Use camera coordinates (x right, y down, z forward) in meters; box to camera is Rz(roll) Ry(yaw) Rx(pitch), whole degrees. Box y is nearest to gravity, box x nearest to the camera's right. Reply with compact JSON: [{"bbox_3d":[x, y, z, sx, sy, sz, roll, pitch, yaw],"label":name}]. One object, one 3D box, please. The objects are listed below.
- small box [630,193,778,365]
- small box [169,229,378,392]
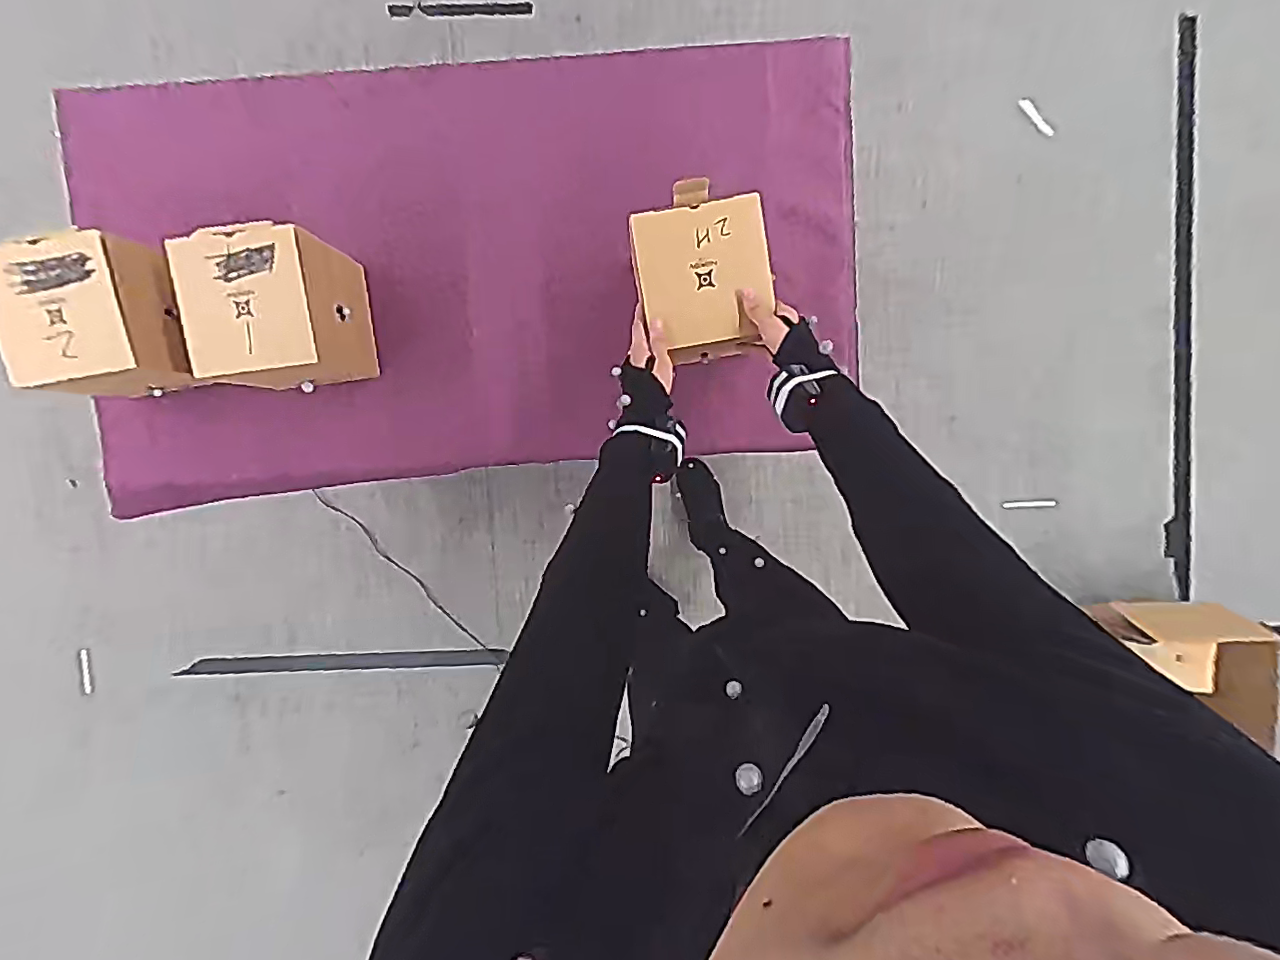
[{"bbox_3d":[0.083,-0.262,0.751,0.168,0.176,0.179,-10,94,1],"label":"small box"},{"bbox_3d":[-0.497,-0.226,0.760,0.168,0.176,0.179,-7,95,1],"label":"small box"}]
